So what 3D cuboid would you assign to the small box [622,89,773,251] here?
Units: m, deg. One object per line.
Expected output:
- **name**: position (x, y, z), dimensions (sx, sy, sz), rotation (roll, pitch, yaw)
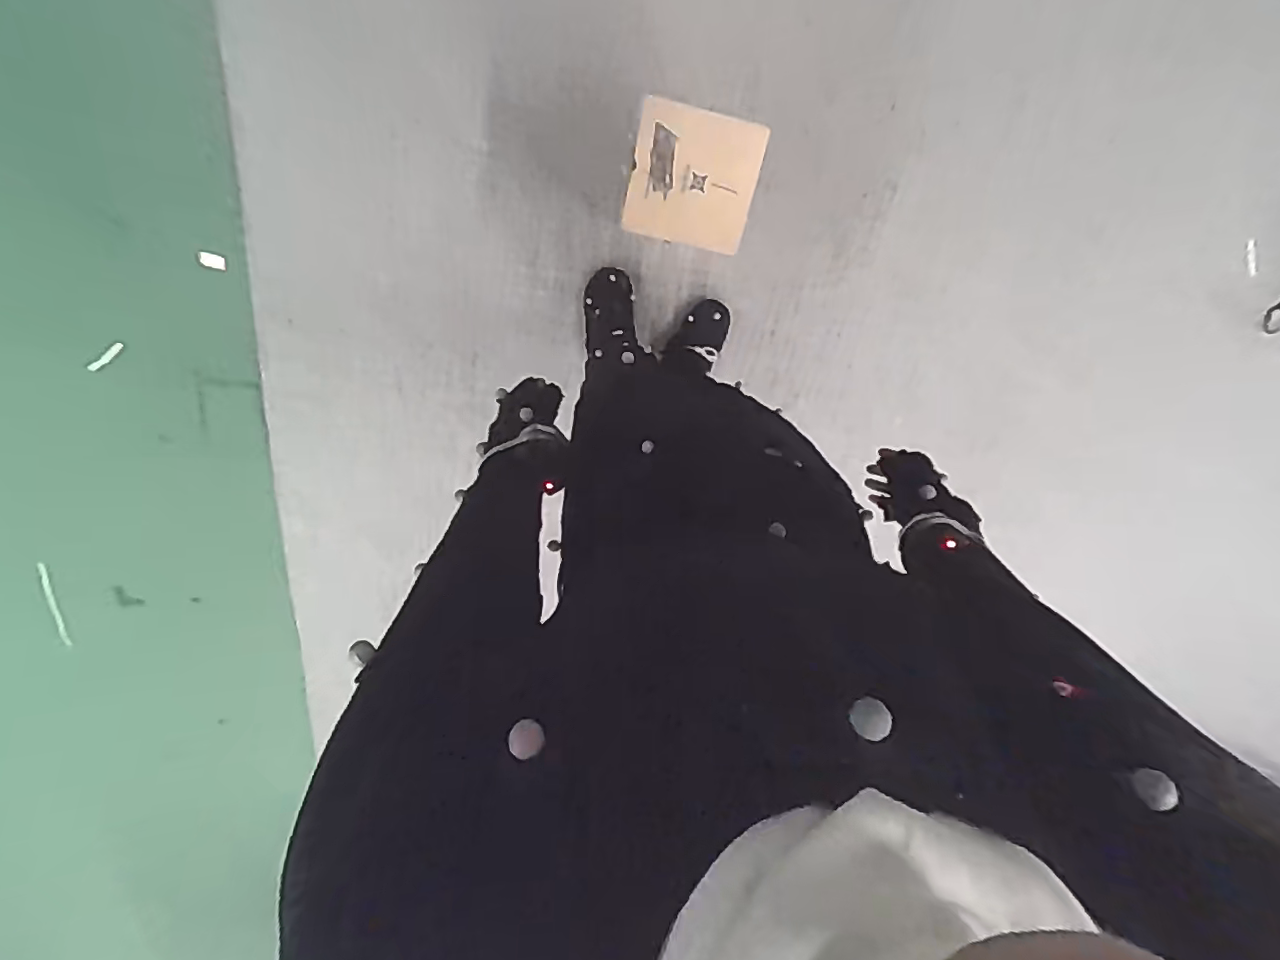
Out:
- **small box**: position (0.075, -0.453, 0.815), dimensions (0.179, 0.176, 0.168), rotation (11, 115, -6)
